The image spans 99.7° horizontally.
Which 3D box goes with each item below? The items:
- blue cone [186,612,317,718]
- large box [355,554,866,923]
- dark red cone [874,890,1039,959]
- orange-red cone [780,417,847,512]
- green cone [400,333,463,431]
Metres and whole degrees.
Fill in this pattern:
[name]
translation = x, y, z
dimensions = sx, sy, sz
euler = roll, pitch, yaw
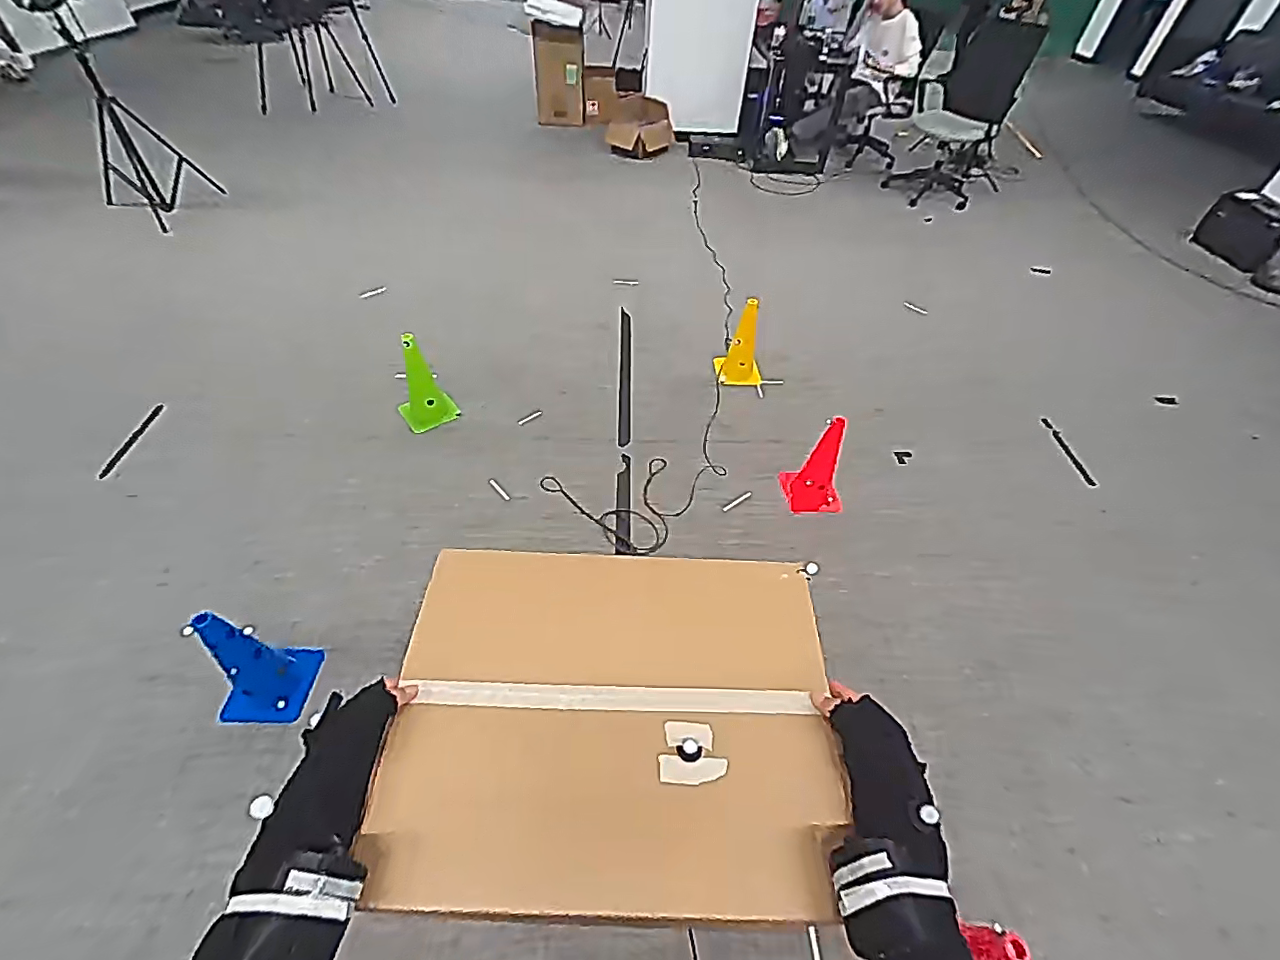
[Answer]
[blue cone]
translation = -0.979, 0.432, 1.328
dimensions = 0.192, 0.380, 0.193
euler = 3, 47, 0
[large box]
translation = -0.027, 0.303, 0.621
dimensions = 0.408, 0.320, 0.320
euler = 3, 50, -1
[dark red cone]
translation = 0.599, 0.865, 0.989
dimensions = 0.201, 0.394, 0.202
euler = 5, 47, 2
[orange-red cone]
translation = 0.644, -0.075, 1.887
dimensions = 0.198, 0.360, 0.199
euler = 0, 46, -5
[green cone]
translation = -0.845, -0.404, 2.079
dimensions = 0.202, 0.368, 0.200
euler = -30, 55, -26
